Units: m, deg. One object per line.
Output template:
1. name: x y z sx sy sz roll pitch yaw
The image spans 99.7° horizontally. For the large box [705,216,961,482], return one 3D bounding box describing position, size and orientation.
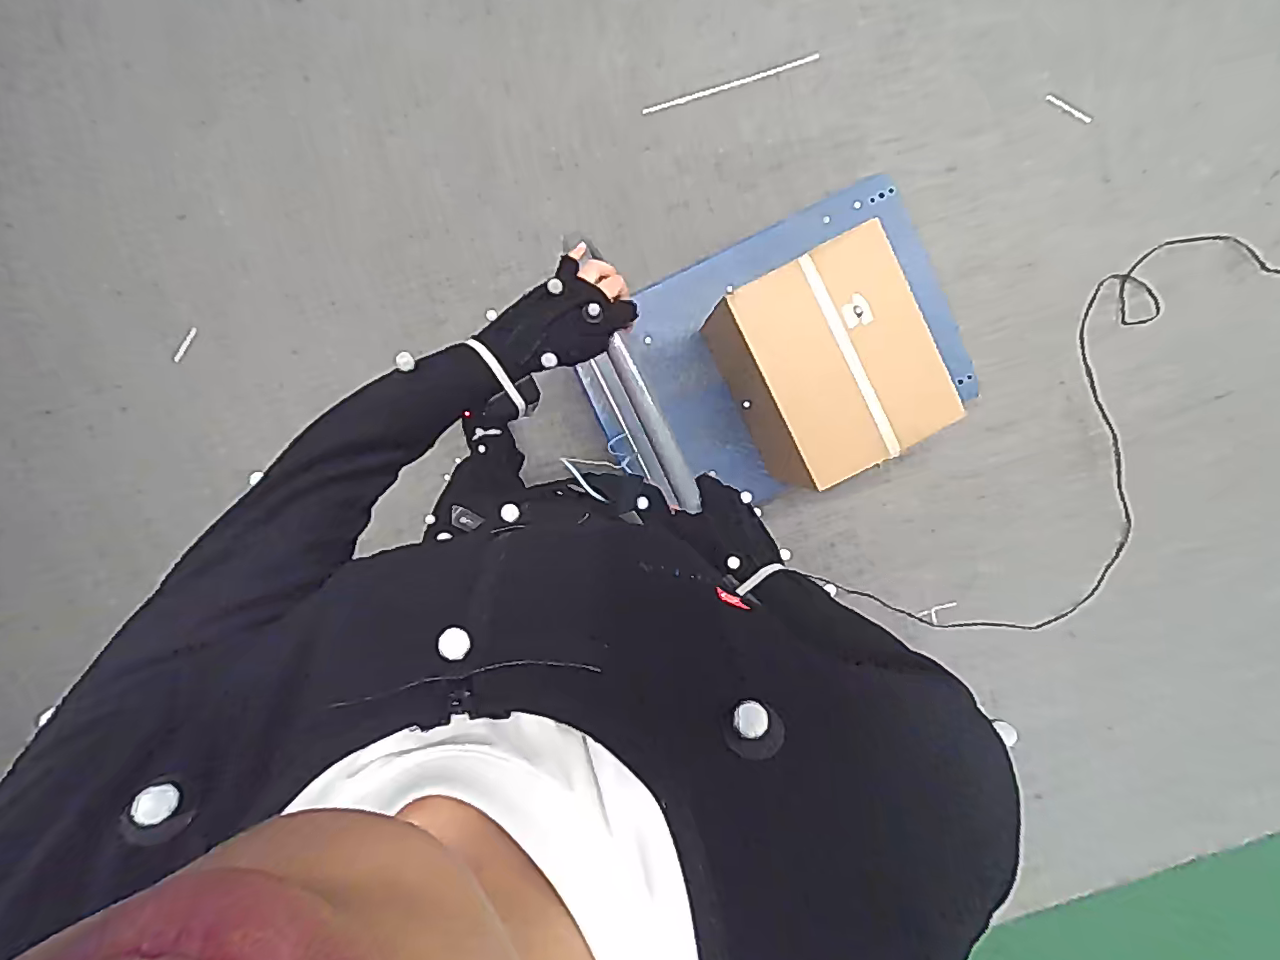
1. large box: 0.374 -0.247 1.143 0.320 0.320 0.408 -27 94 0
